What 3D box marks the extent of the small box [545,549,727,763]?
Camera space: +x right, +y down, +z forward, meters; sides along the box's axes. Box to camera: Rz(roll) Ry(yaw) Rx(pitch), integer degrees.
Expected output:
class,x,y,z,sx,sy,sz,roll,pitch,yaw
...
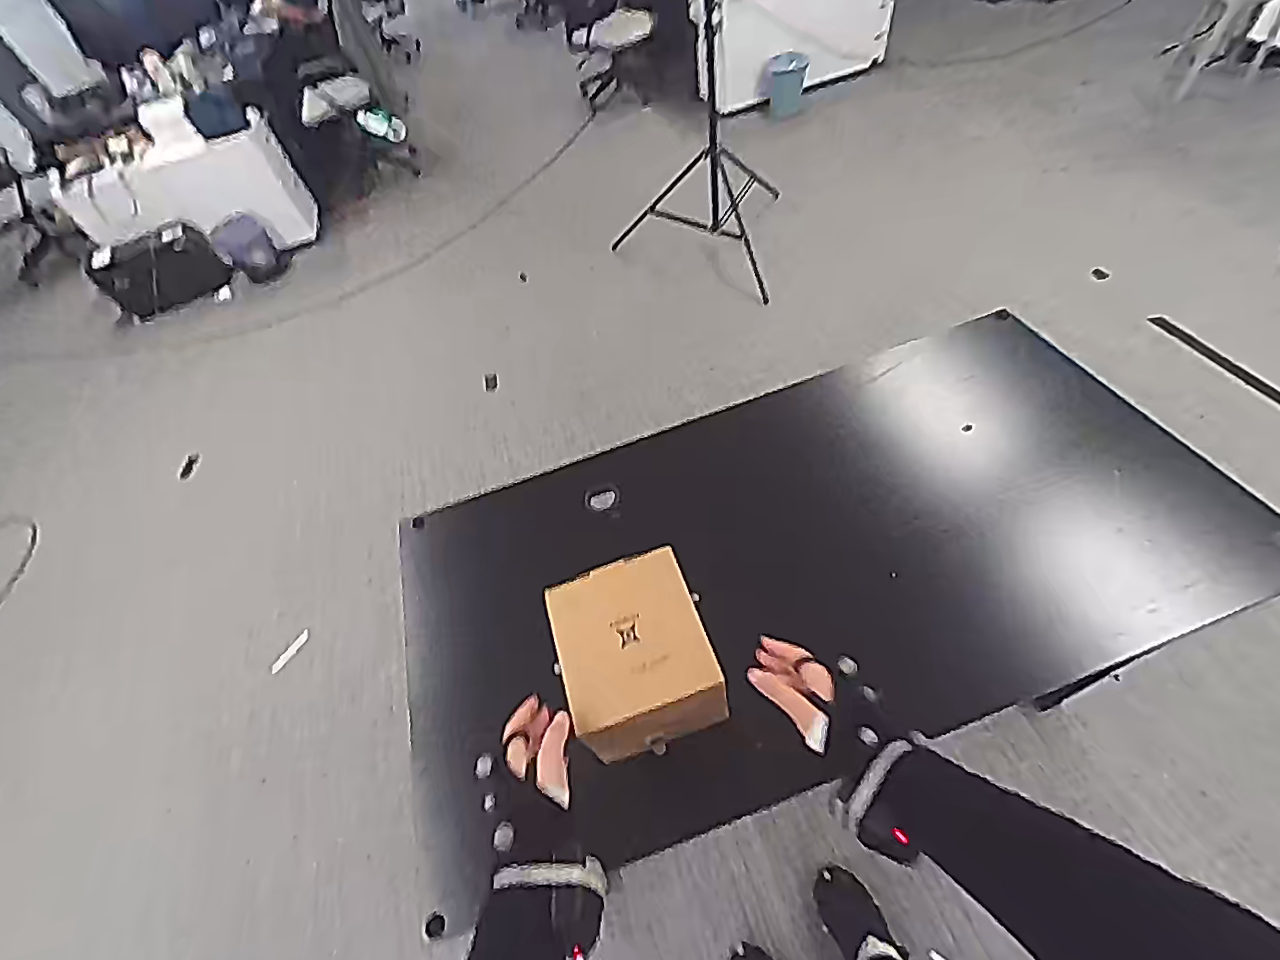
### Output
class,x,y,z,sx,sy,sz,roll,pitch,yaw
small box,-0.001,0.219,0.665,0.168,0.176,0.179,-20,53,-3
